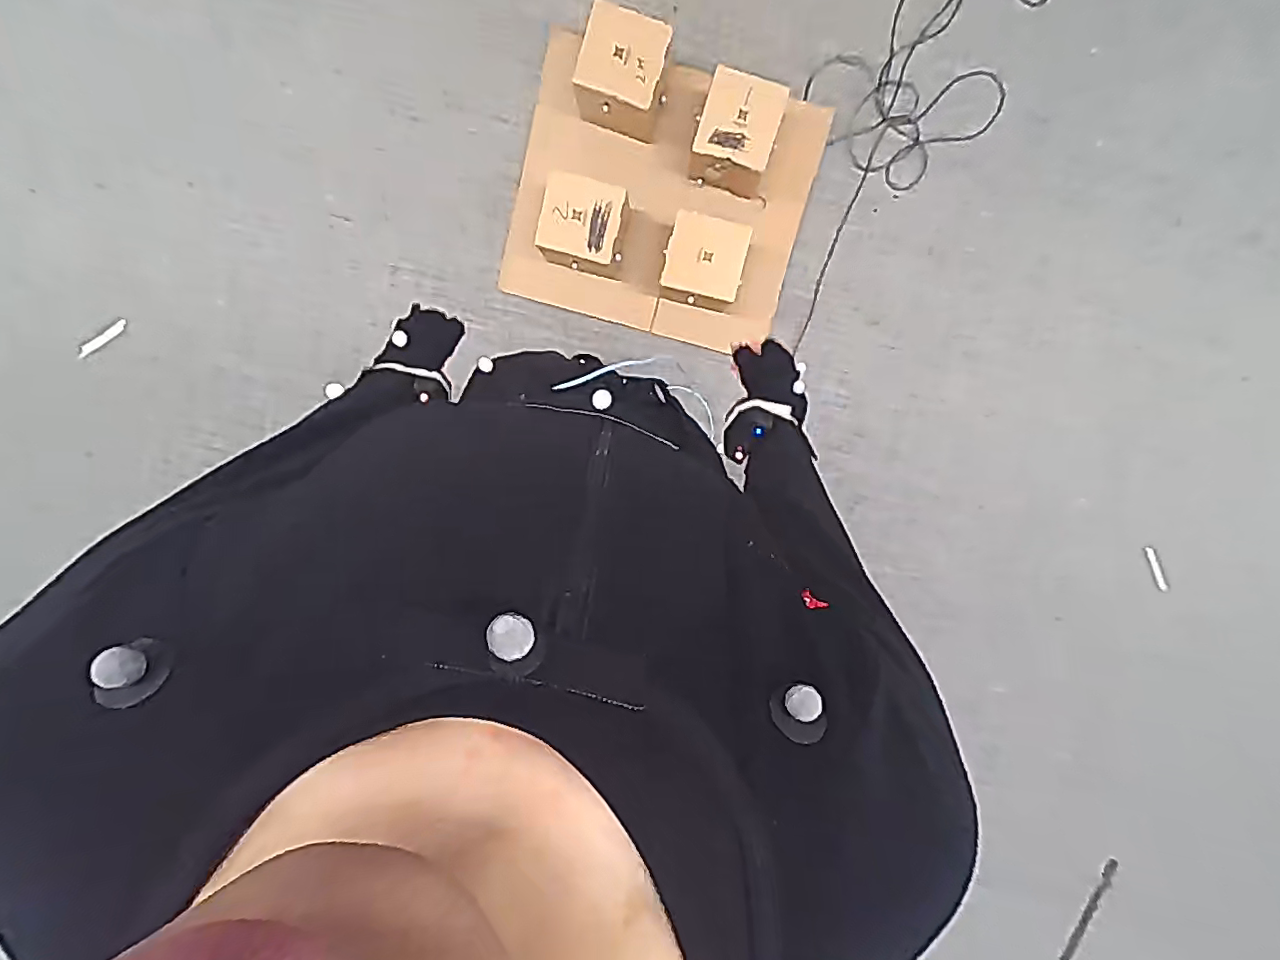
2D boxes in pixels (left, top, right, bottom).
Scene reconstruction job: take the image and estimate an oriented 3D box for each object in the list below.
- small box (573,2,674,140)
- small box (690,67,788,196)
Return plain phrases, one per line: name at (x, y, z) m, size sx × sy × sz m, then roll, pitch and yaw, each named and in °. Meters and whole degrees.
small box at (-0.035, -0.903, 1.214) m, size 0.179 × 0.176 × 0.168 m, roll 19°, pitch 100°, yaw -3°
small box at (0.217, -0.782, 1.237) m, size 0.168 × 0.176 × 0.179 m, roll 18°, pitch 99°, yaw -1°
